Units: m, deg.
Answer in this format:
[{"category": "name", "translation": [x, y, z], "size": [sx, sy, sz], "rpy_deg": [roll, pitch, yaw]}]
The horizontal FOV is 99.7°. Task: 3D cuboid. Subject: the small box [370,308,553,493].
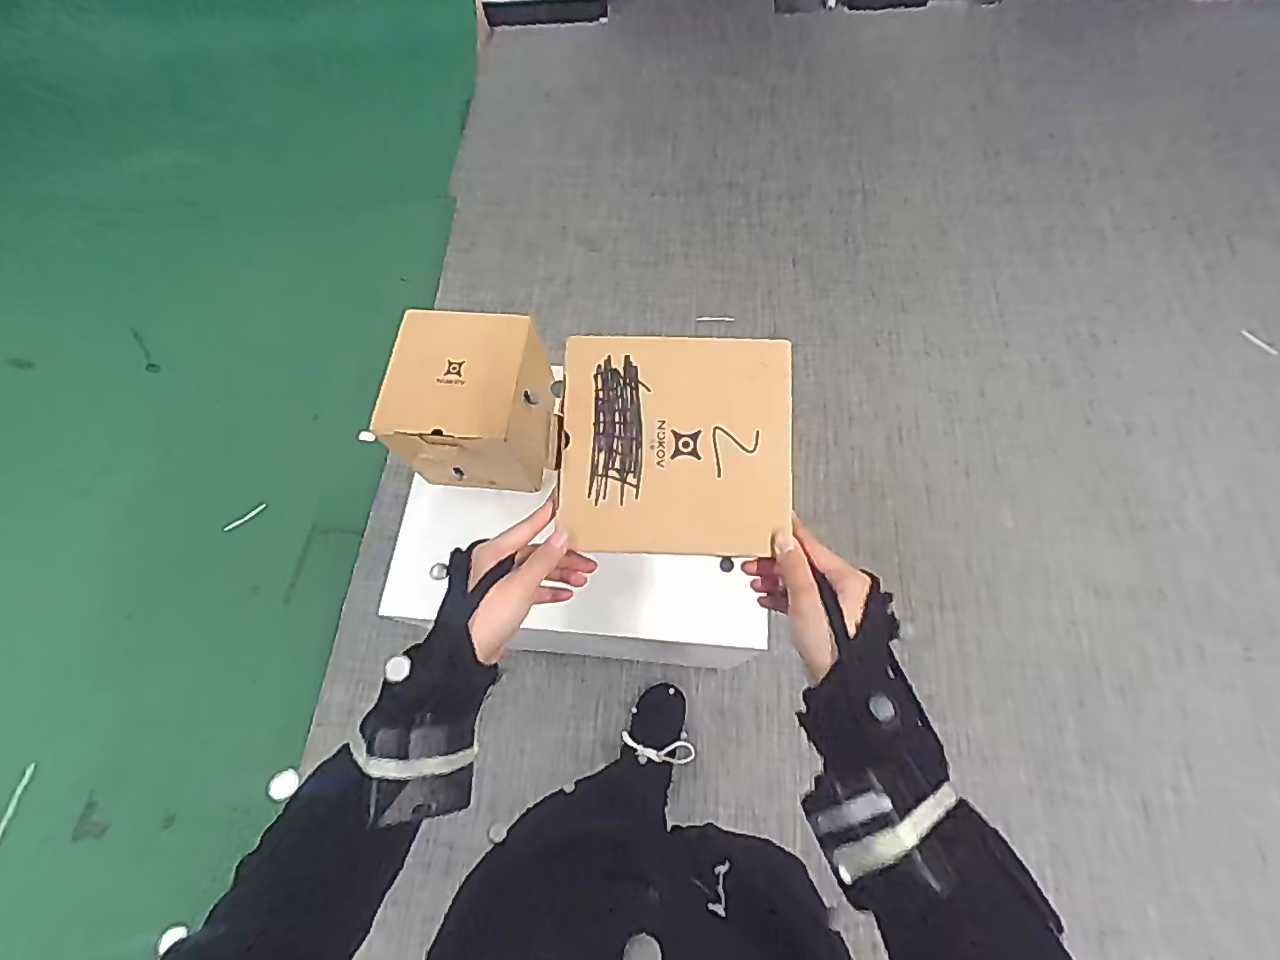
[{"category": "small box", "translation": [-0.219, -0.099, 0.720], "size": [0.168, 0.176, 0.179], "rpy_deg": [6, 68, 4]}]
